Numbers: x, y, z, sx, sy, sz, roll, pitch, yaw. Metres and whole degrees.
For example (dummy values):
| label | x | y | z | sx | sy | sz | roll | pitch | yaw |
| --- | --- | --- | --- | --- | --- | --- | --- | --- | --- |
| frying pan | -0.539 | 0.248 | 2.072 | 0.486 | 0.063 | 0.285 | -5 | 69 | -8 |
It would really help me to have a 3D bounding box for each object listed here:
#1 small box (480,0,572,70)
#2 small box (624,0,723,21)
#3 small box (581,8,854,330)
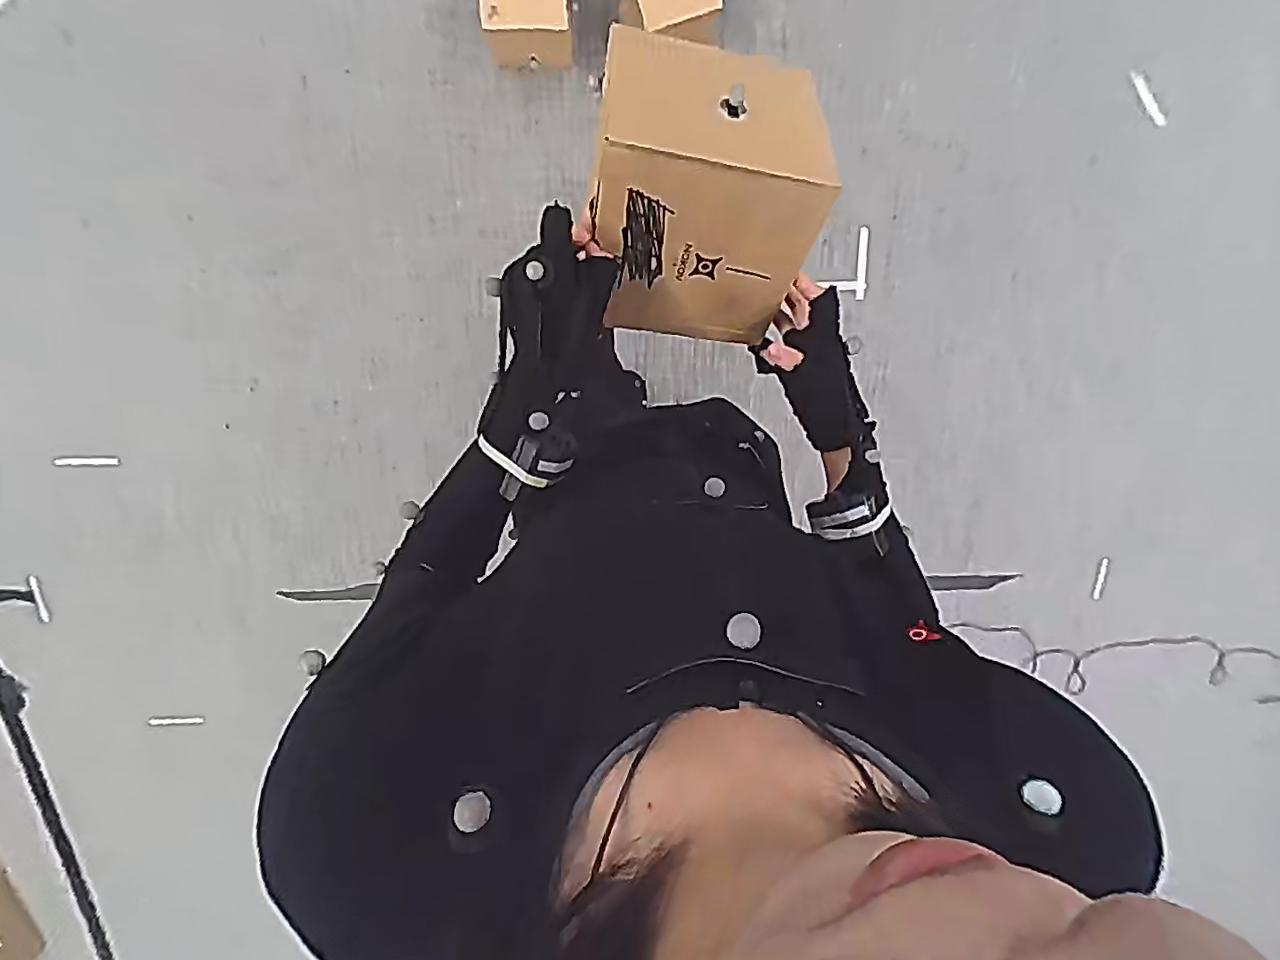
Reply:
| label | x | y | z | sx | sy | sz | roll | pitch | yaw |
| --- | --- | --- | --- | --- | --- | --- | --- | --- | --- |
| small box | -0.234 | -0.995 | 1.136 | 0.179 | 0.176 | 0.168 | -2 | 106 | -3 |
| small box | 0.061 | -1.030 | 1.147 | 0.168 | 0.176 | 0.179 | -19 | 107 | 2 |
| small box | 0.049 | -0.260 | 0.465 | 0.179 | 0.168 | 0.176 | 6 | 61 | -10 |
